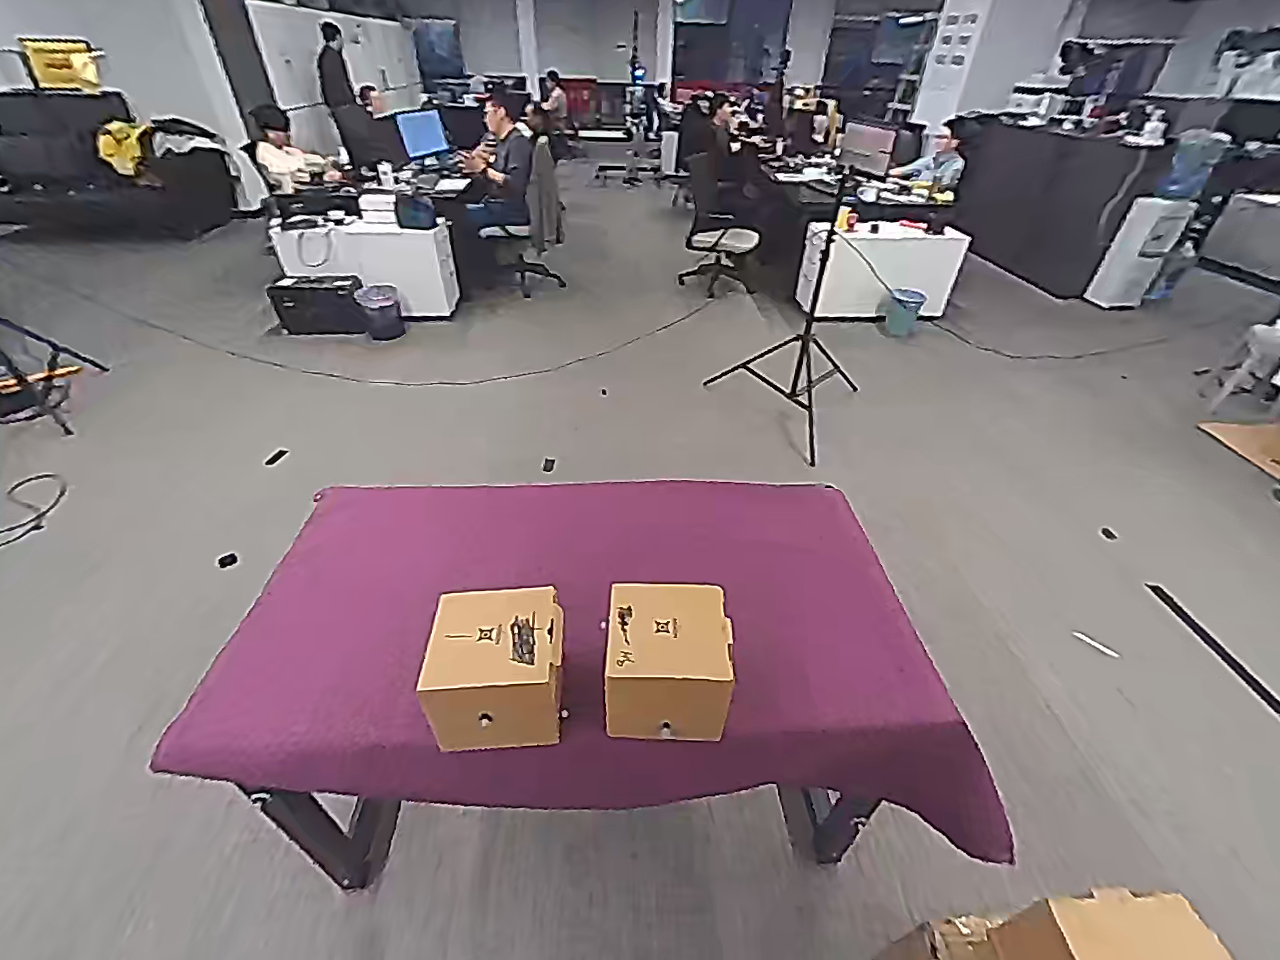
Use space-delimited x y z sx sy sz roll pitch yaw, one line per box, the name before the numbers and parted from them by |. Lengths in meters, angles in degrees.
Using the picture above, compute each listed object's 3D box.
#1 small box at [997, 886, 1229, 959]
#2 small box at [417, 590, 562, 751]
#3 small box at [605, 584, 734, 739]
small box | 0.557 0.596 0.618 0.168 0.176 0.179 -2 40 -1
small box | -0.212 0.288 0.820 0.179 0.176 0.168 -3 37 -4
small box | 0.039 0.282 0.838 0.179 0.176 0.168 2 37 0
